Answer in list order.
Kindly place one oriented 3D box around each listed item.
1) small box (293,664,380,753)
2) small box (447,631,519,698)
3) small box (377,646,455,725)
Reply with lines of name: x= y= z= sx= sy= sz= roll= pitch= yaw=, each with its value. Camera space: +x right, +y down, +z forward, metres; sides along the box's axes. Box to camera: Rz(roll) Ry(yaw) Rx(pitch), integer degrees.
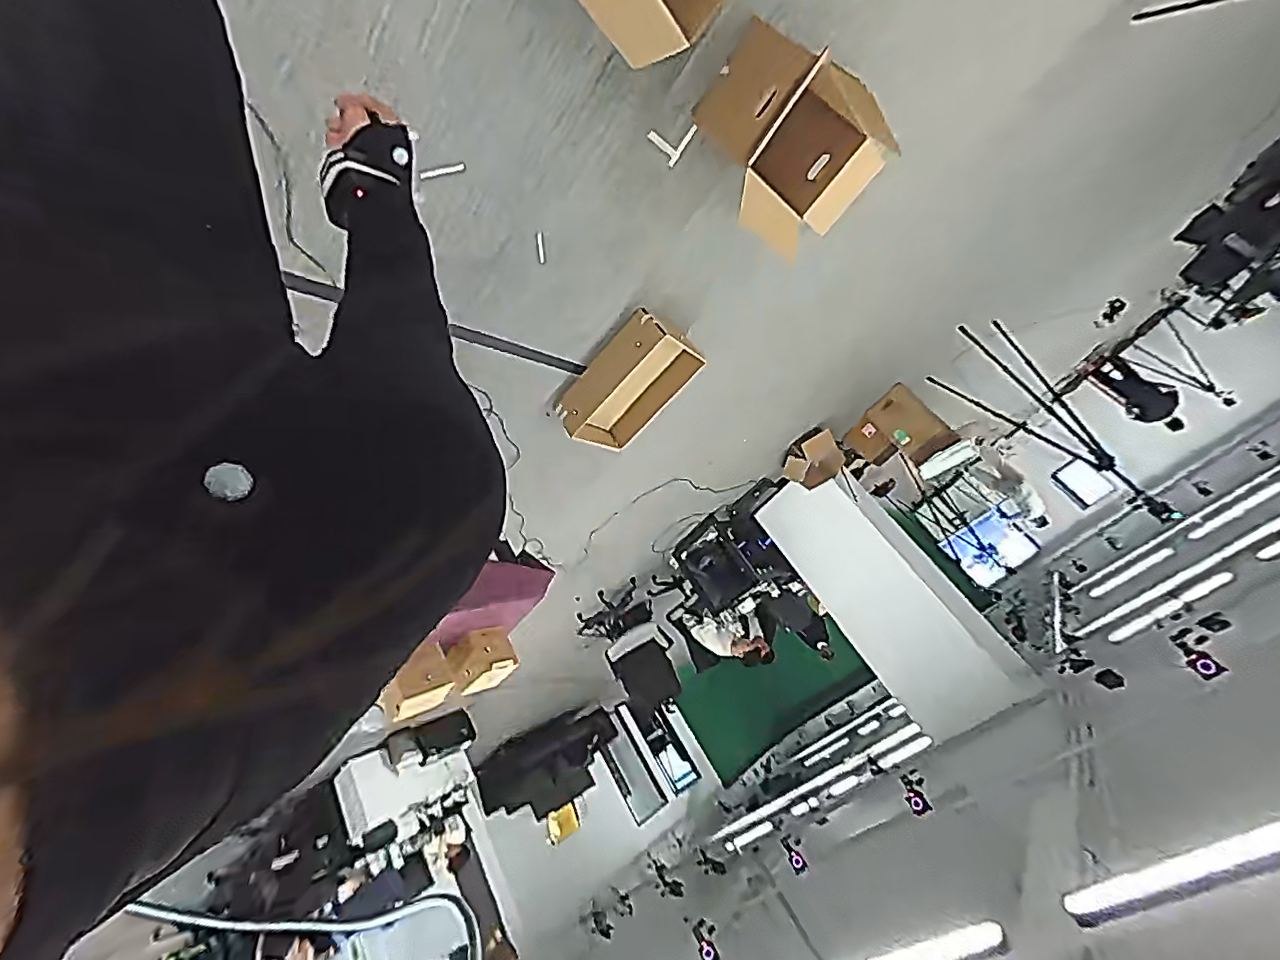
small box: x=-0.912 y=0.670 z=1.616 sx=0.168 sy=0.176 sz=0.179 roll=-3 pitch=141 yaw=-49
small box: x=-0.596 y=0.685 z=2.036 sx=0.179 sy=0.176 sz=0.168 roll=-46 pitch=152 yaw=22
small box: x=-0.762 y=0.689 z=1.834 sx=0.179 sy=0.176 sz=0.168 roll=-7 pitch=142 yaw=-46
